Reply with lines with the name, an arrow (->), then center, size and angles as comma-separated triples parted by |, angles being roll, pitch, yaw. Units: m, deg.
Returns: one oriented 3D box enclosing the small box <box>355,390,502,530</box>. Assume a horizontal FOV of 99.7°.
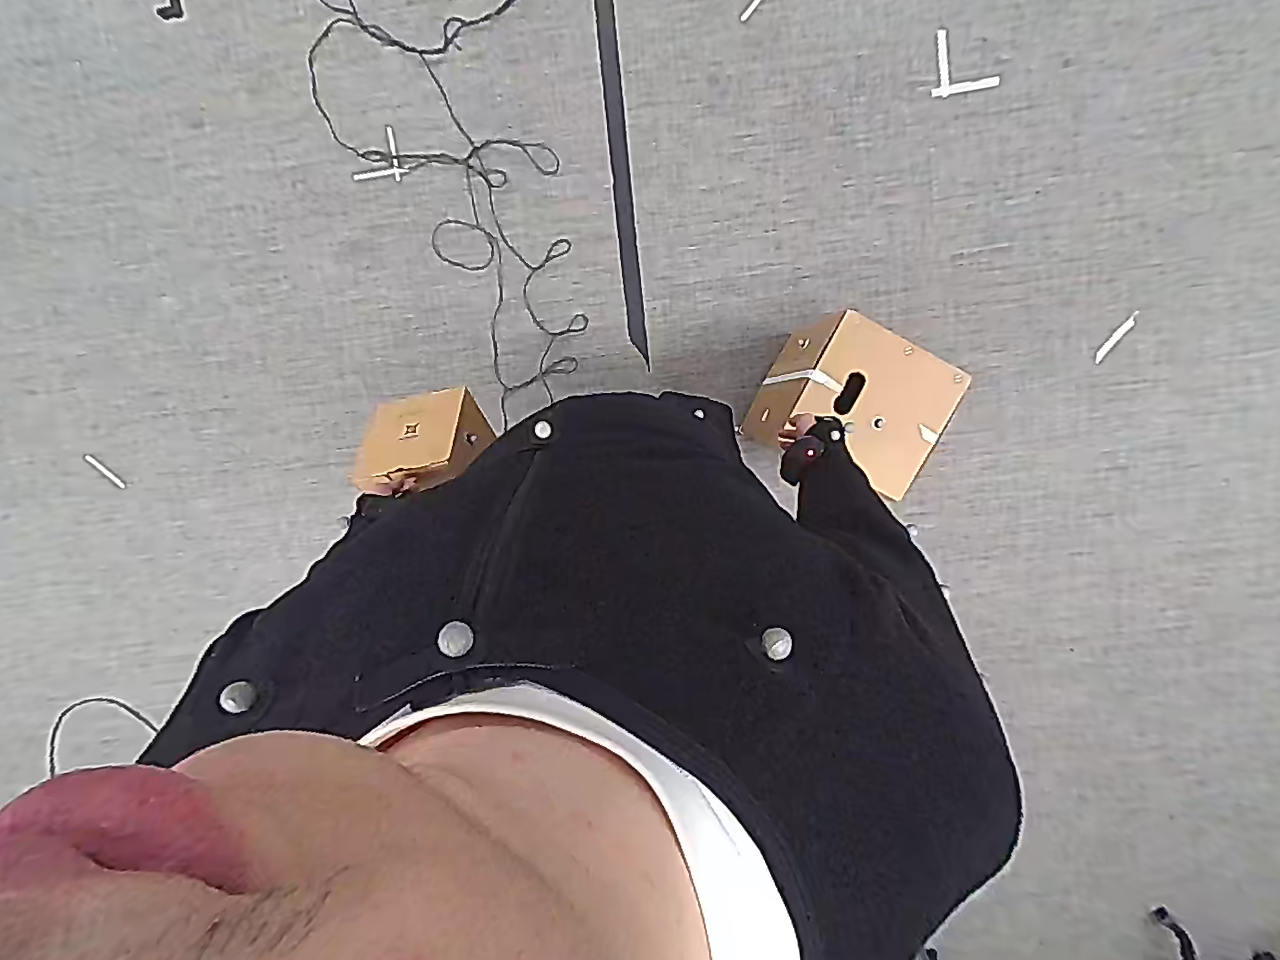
small box -> -0.355, -0.026, 0.948 | 0.168, 0.179, 0.176 | -10, 139, 7
